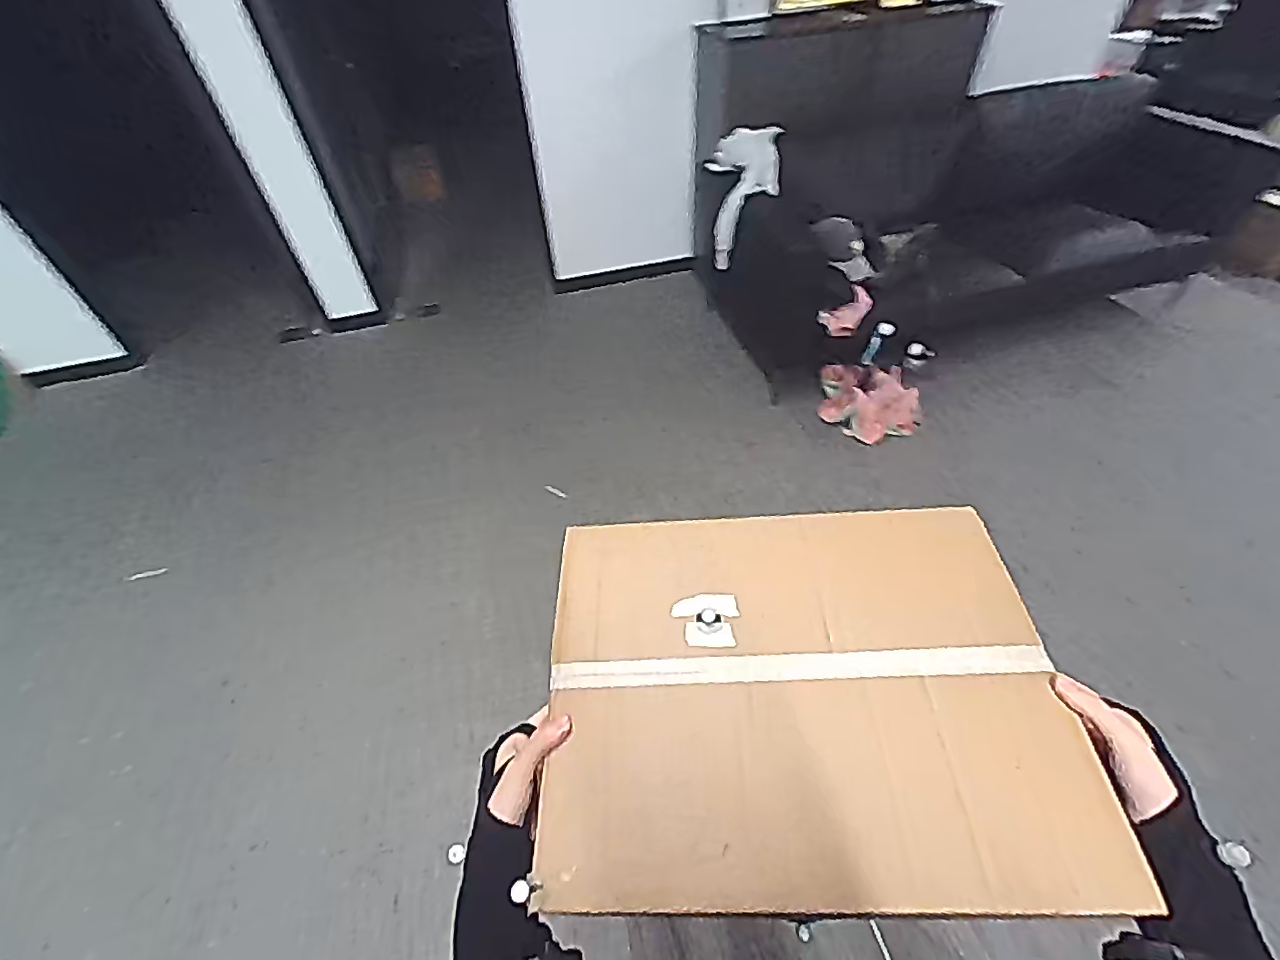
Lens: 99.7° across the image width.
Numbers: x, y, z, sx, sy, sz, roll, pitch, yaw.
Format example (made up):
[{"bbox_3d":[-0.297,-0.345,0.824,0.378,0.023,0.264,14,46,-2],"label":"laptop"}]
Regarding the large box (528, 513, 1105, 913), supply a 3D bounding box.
[{"bbox_3d":[0.130,0.259,0.580,0.408,0.320,0.320,-4,51,4],"label":"large box"}]
